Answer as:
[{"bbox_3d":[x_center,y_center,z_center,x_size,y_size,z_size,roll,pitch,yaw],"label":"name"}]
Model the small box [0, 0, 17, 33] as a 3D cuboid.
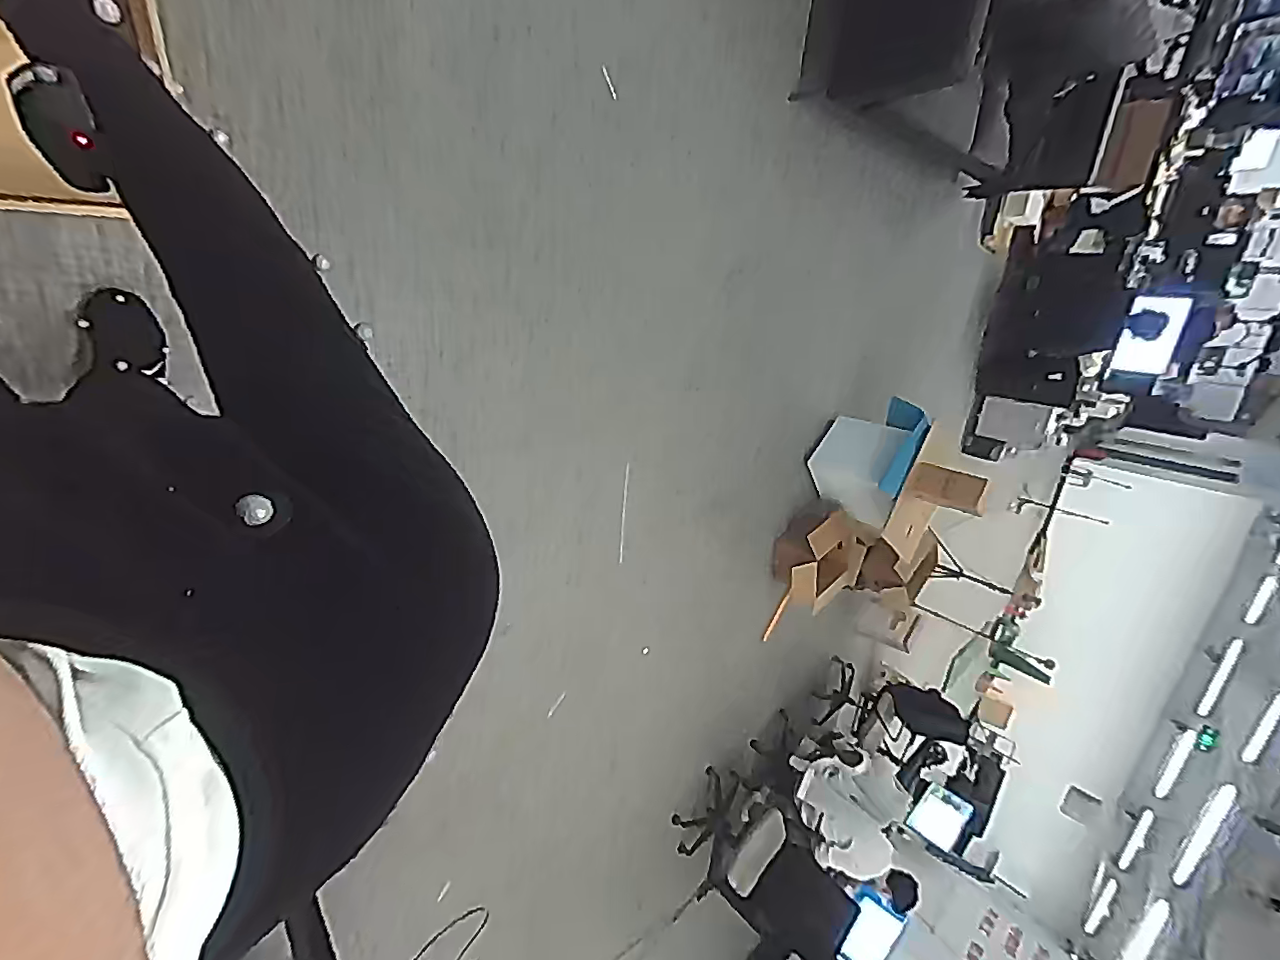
[{"bbox_3d":[-0.811,-0.622,0.569,0.168,0.176,0.179,-15,116,-40],"label":"small box"}]
